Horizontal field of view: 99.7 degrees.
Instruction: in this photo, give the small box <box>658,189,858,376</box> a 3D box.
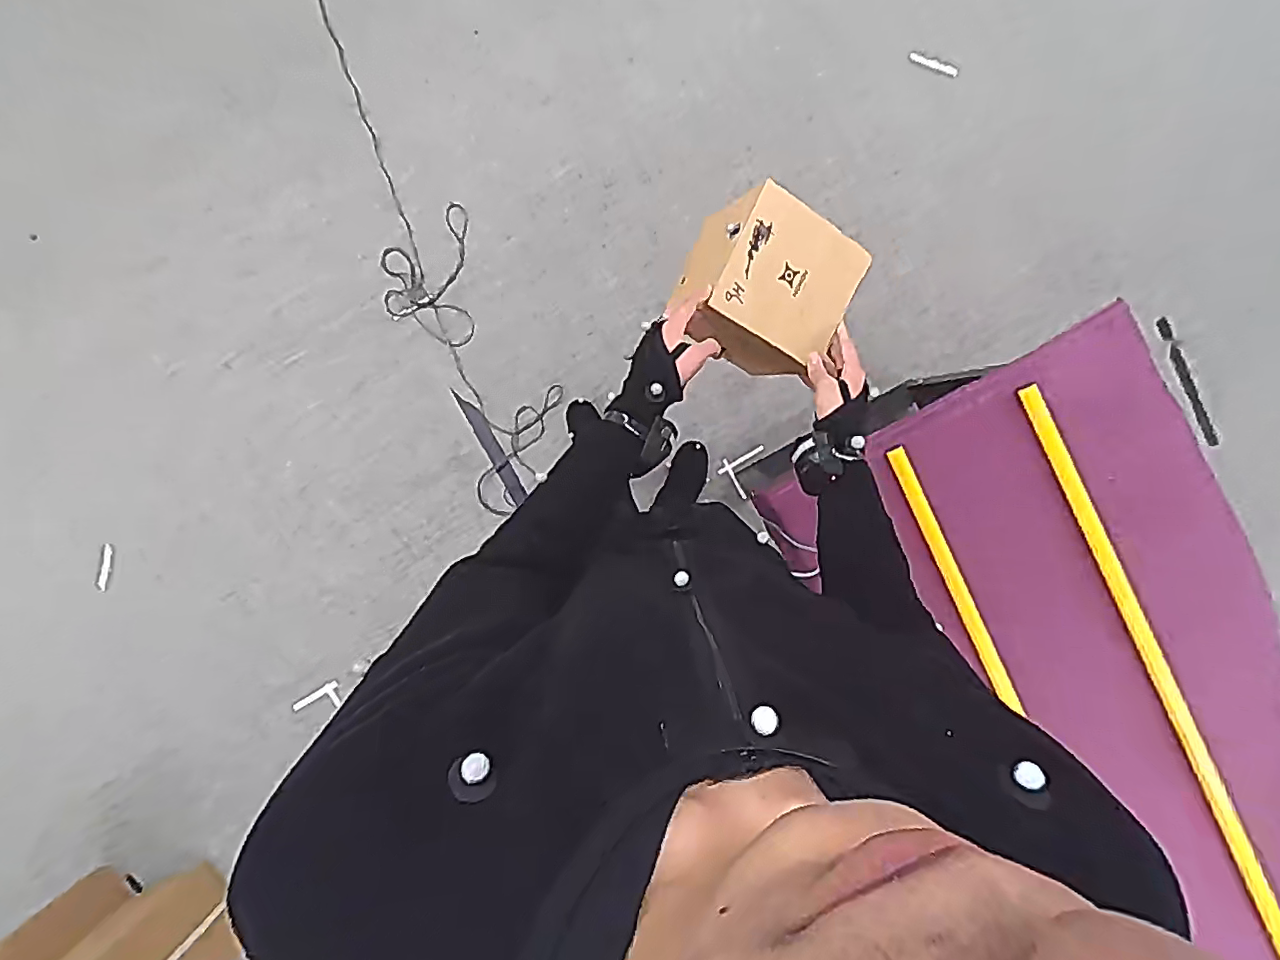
[{"bbox_3d":[0.153,-0.259,0.753,0.179,0.176,0.168,25,91,-21],"label":"small box"}]
